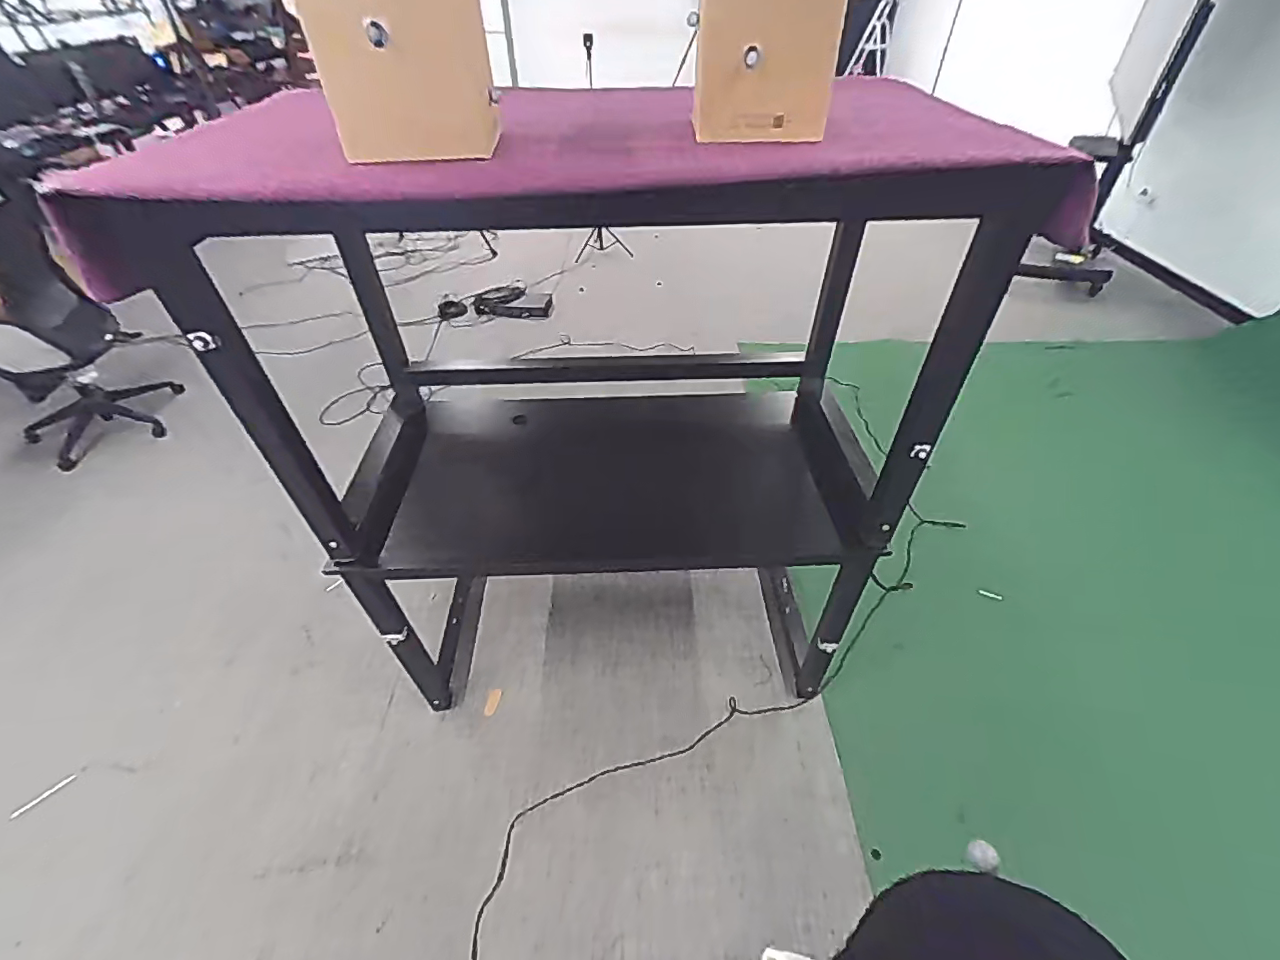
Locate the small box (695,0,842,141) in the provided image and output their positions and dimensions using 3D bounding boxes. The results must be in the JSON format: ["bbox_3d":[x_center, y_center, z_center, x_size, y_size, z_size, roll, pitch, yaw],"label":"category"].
[{"bbox_3d":[0.160,-0.564,0.723,0.168,0.176,0.179,0,42,2],"label":"small box"}]

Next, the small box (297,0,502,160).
[{"bbox_3d":[-0.282,-0.511,0.673,0.179,0.176,0.168,-4,43,-3],"label":"small box"}]
